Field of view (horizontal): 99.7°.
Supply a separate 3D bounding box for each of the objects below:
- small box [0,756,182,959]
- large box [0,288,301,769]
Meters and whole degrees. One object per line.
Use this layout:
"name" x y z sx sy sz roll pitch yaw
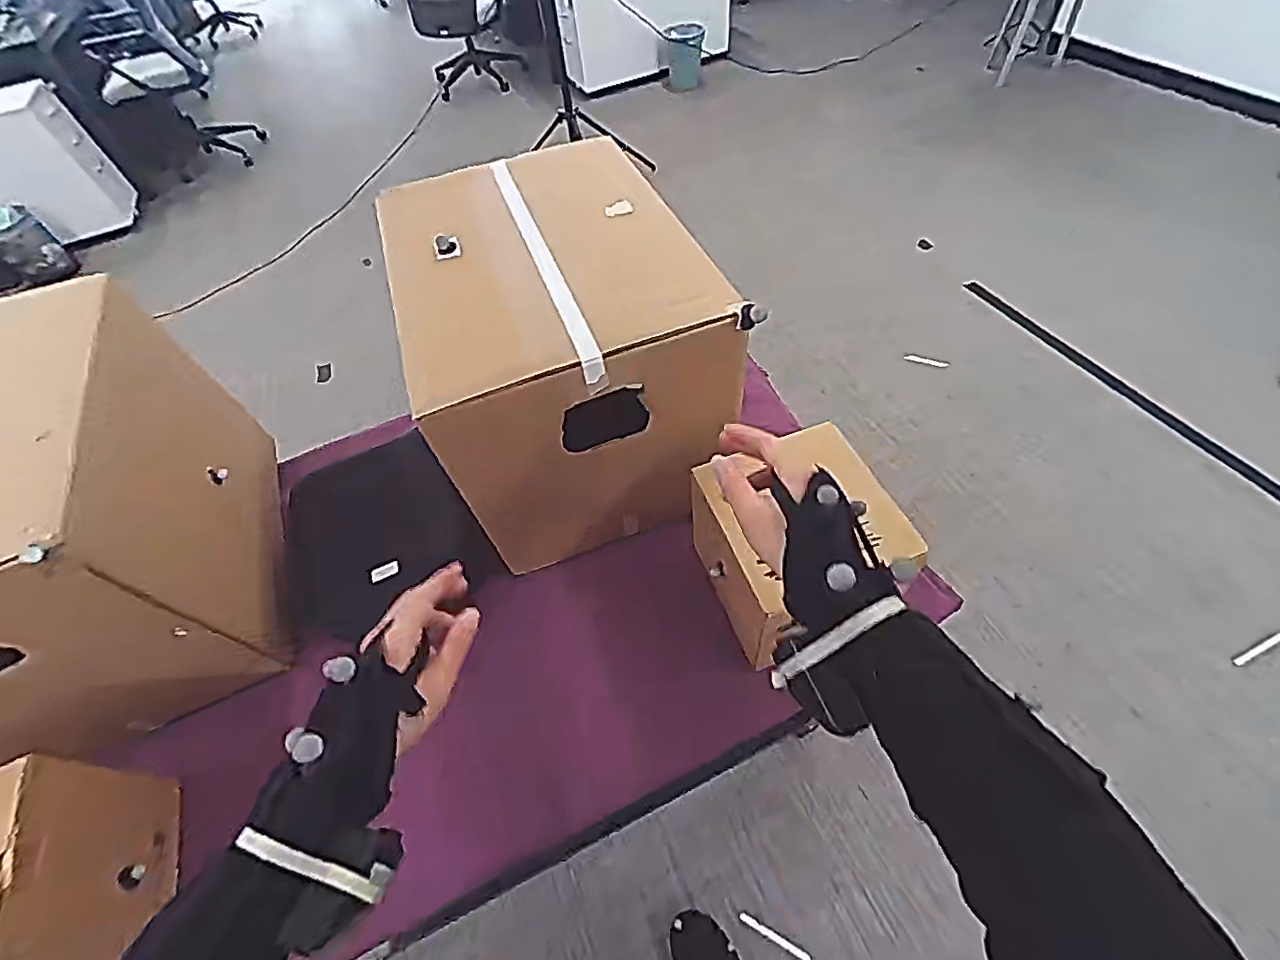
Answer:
"small box" -0.553 0.376 0.466 0.179 0.176 0.168 -25 55 -12
"large box" -0.648 0.061 0.617 0.320 0.320 0.408 -25 58 -11
